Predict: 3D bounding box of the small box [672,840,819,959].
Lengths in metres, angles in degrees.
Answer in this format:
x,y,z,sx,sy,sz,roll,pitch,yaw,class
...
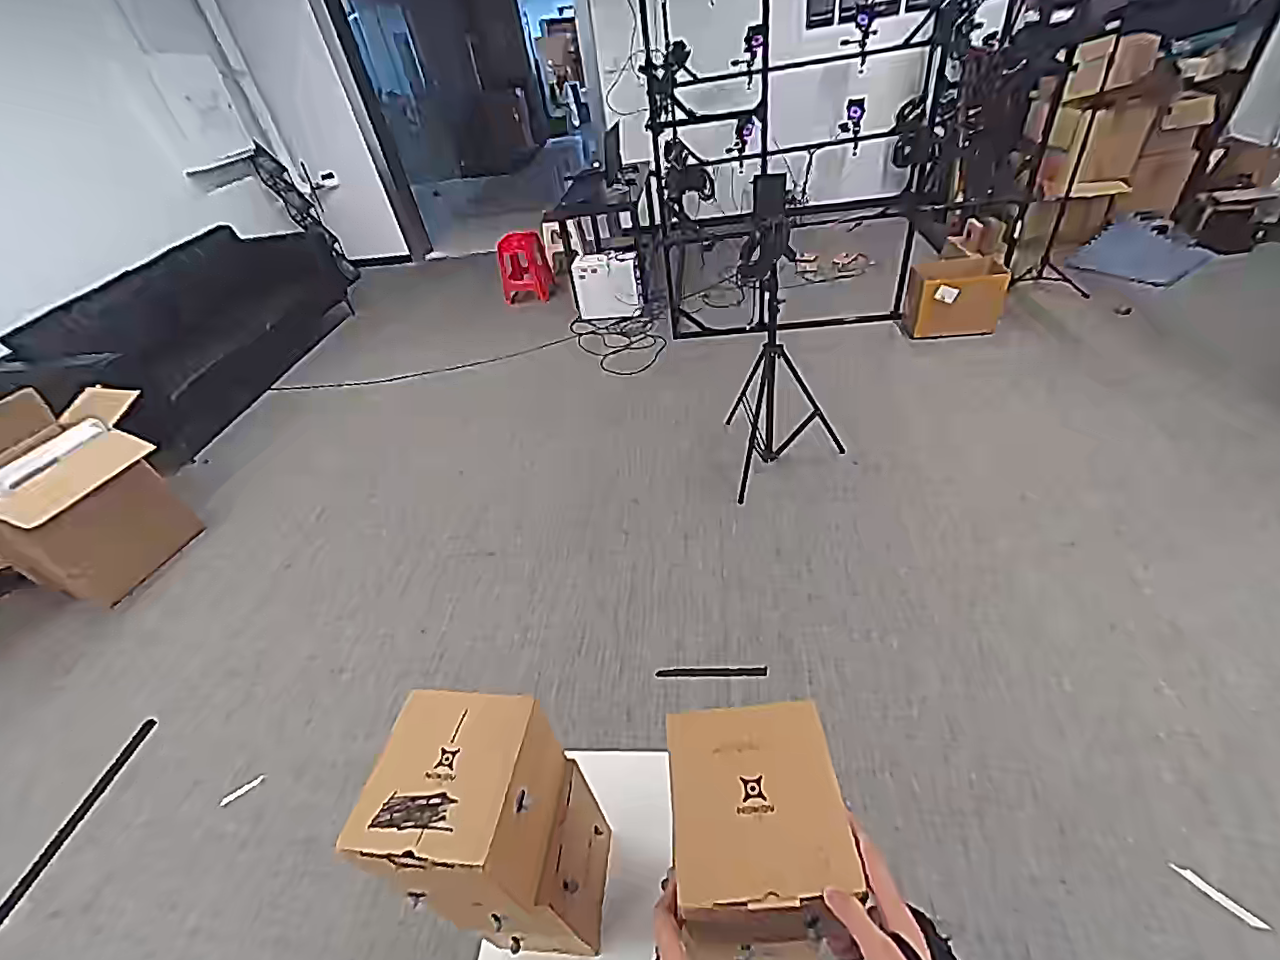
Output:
x,y,z,sx,sy,sz,roll,pitch,yaw,class
0.132,0.485,0.689,0.168,0.176,0.179,-5,40,7,small box

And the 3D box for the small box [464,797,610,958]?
x,y,z,sx,sy,sz,roll,pitch,yaw,class
-0.148,0.622,0.849,0.168,0.176,0.179,-2,40,8,small box

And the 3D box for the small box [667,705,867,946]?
x,y,z,sx,sy,sz,roll,pitch,yaw,class
0.123,0.369,0.575,0.168,0.176,0.179,-7,40,3,small box

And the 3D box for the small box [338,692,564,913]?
x,y,z,sx,sy,sz,roll,pitch,yaw,class
-0.200,0.377,0.635,0.168,0.176,0.179,-1,40,11,small box
